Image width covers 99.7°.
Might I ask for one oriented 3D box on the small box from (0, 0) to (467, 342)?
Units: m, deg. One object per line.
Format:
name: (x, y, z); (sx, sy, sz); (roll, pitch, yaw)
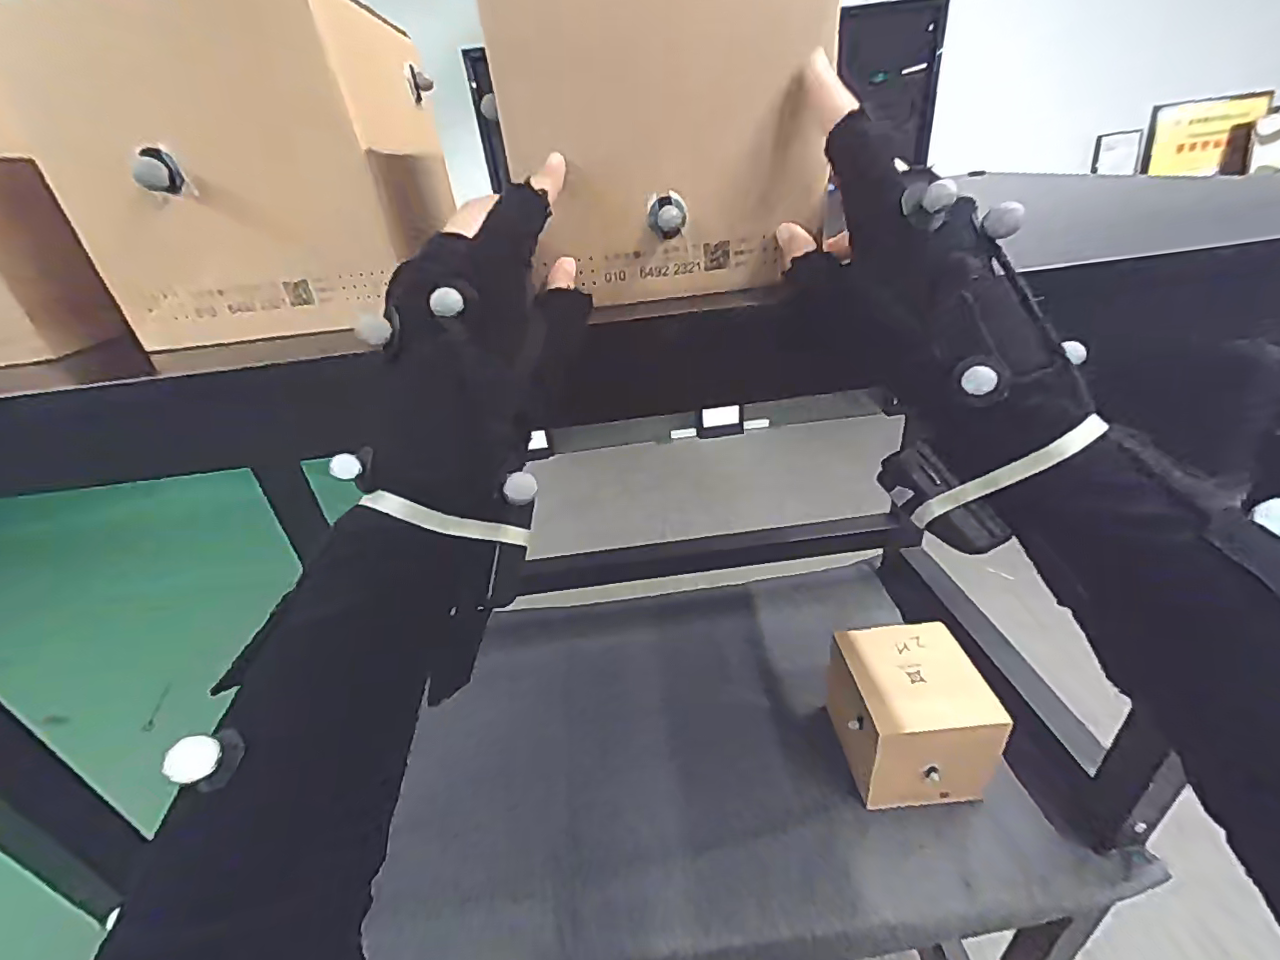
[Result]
small box: (-0.232, -0.197, 0.366); (0.168, 0.176, 0.179); (-7, 30, 1)

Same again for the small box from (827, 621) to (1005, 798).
small box: (0.380, 0.333, 0.780); (0.168, 0.176, 0.179); (-5, 29, 2)

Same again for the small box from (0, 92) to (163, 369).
small box: (-0.457, -0.179, 0.375); (0.168, 0.176, 0.179); (-7, 31, 0)
